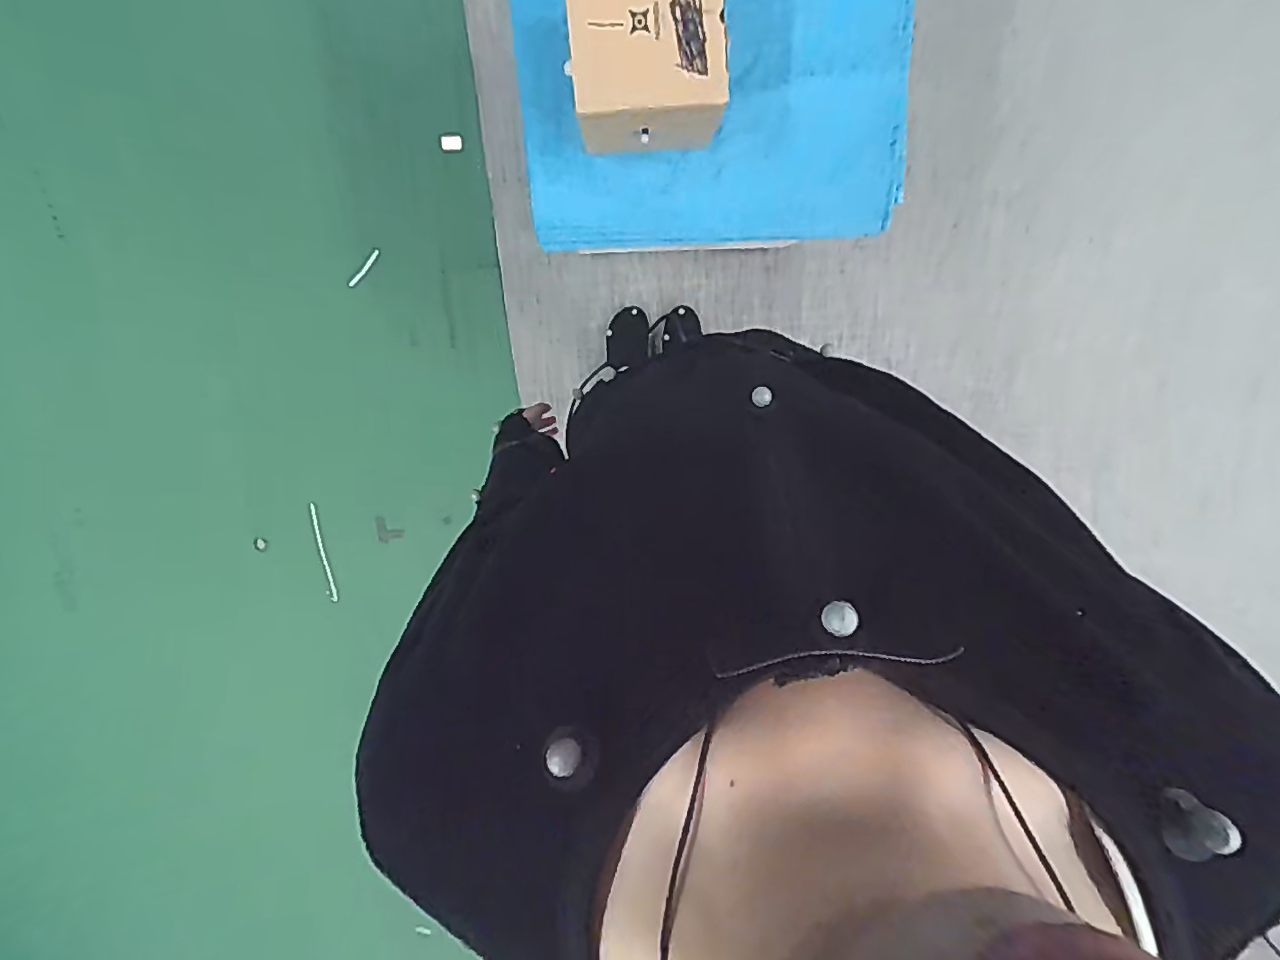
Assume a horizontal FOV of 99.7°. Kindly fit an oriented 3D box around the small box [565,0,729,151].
[{"bbox_3d":[0.006,-0.517,0.654,0.179,0.176,0.168,-4,107,1],"label":"small box"}]
